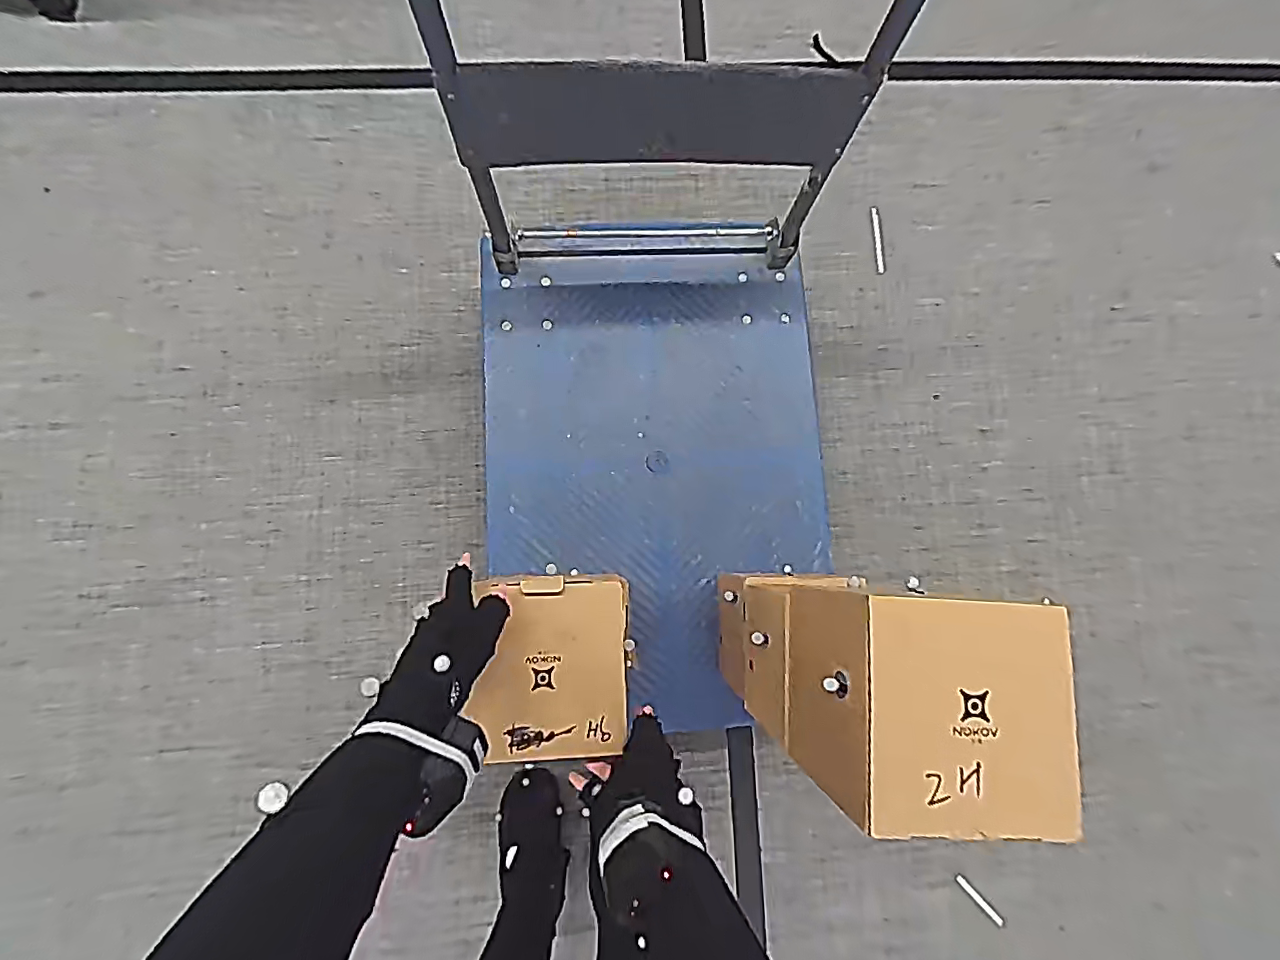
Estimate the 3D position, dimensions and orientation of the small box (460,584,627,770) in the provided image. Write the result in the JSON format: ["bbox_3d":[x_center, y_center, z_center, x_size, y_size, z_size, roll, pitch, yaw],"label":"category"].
[{"bbox_3d":[-0.101,0.210,0.624,0.168,0.176,0.179,-1,81,-4],"label":"small box"}]

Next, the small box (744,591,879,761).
[{"bbox_3d":[0.229,0.224,0.648,0.179,0.176,0.168,3,82,-5],"label":"small box"}]

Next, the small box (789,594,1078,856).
[{"bbox_3d":[0.242,0.198,0.486,0.168,0.176,0.179,5,82,-4],"label":"small box"}]
